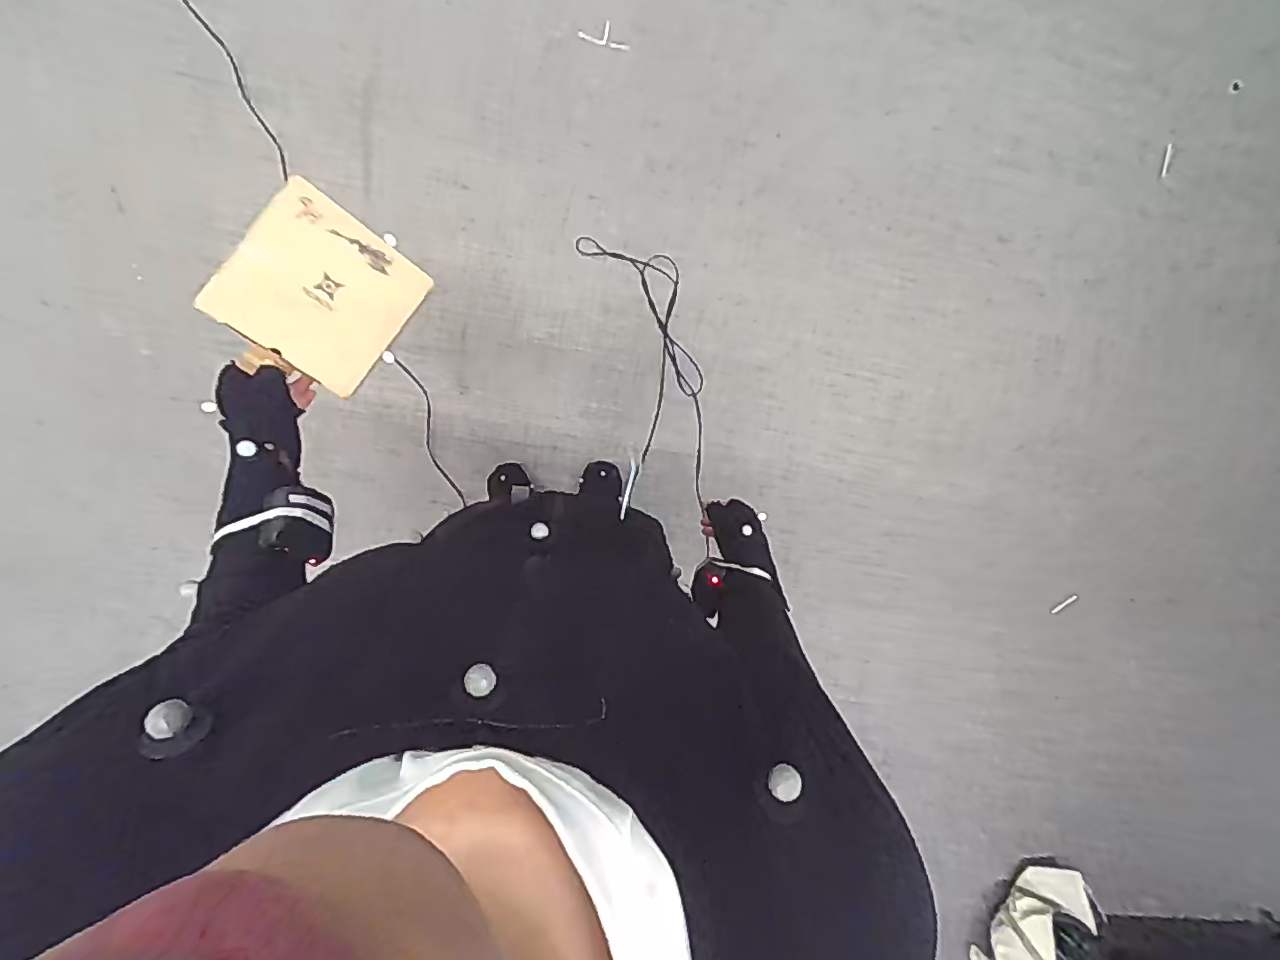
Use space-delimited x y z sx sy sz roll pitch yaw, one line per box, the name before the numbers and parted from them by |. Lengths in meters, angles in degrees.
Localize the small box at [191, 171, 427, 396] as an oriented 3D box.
small box | -0.382 -0.223 0.658 0.168 0.176 0.179 36 86 -27
